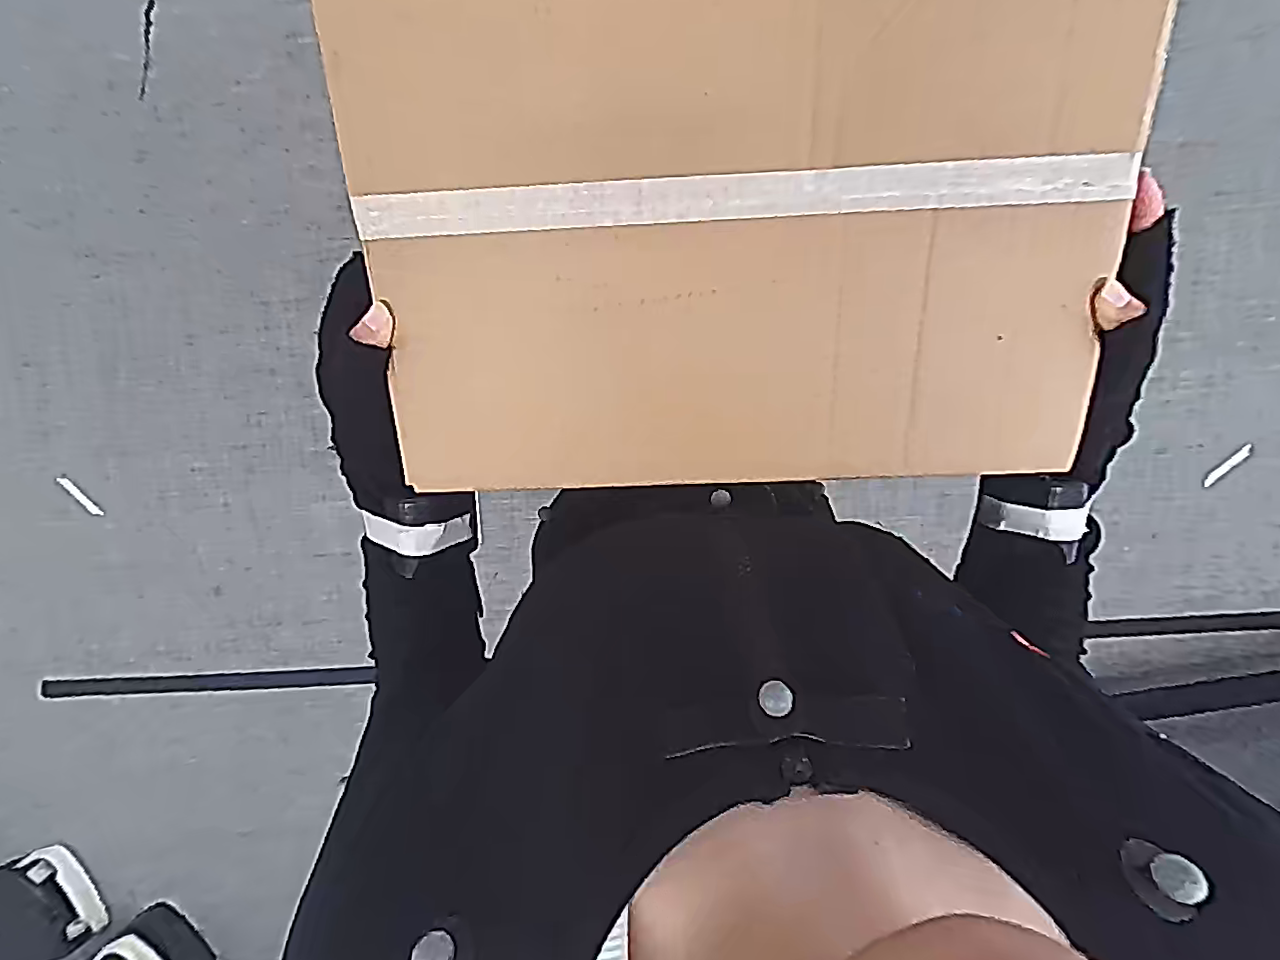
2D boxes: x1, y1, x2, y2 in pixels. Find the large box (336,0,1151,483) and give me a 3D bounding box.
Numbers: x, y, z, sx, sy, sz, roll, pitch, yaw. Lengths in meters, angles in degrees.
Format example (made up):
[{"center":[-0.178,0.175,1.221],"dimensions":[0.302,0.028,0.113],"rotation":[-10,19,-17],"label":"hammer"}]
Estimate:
[{"center":[0.052,-0.198,0.434],"dimensions":[0.408,0.320,0.320],"rotation":[-2,110,1],"label":"large box"}]
